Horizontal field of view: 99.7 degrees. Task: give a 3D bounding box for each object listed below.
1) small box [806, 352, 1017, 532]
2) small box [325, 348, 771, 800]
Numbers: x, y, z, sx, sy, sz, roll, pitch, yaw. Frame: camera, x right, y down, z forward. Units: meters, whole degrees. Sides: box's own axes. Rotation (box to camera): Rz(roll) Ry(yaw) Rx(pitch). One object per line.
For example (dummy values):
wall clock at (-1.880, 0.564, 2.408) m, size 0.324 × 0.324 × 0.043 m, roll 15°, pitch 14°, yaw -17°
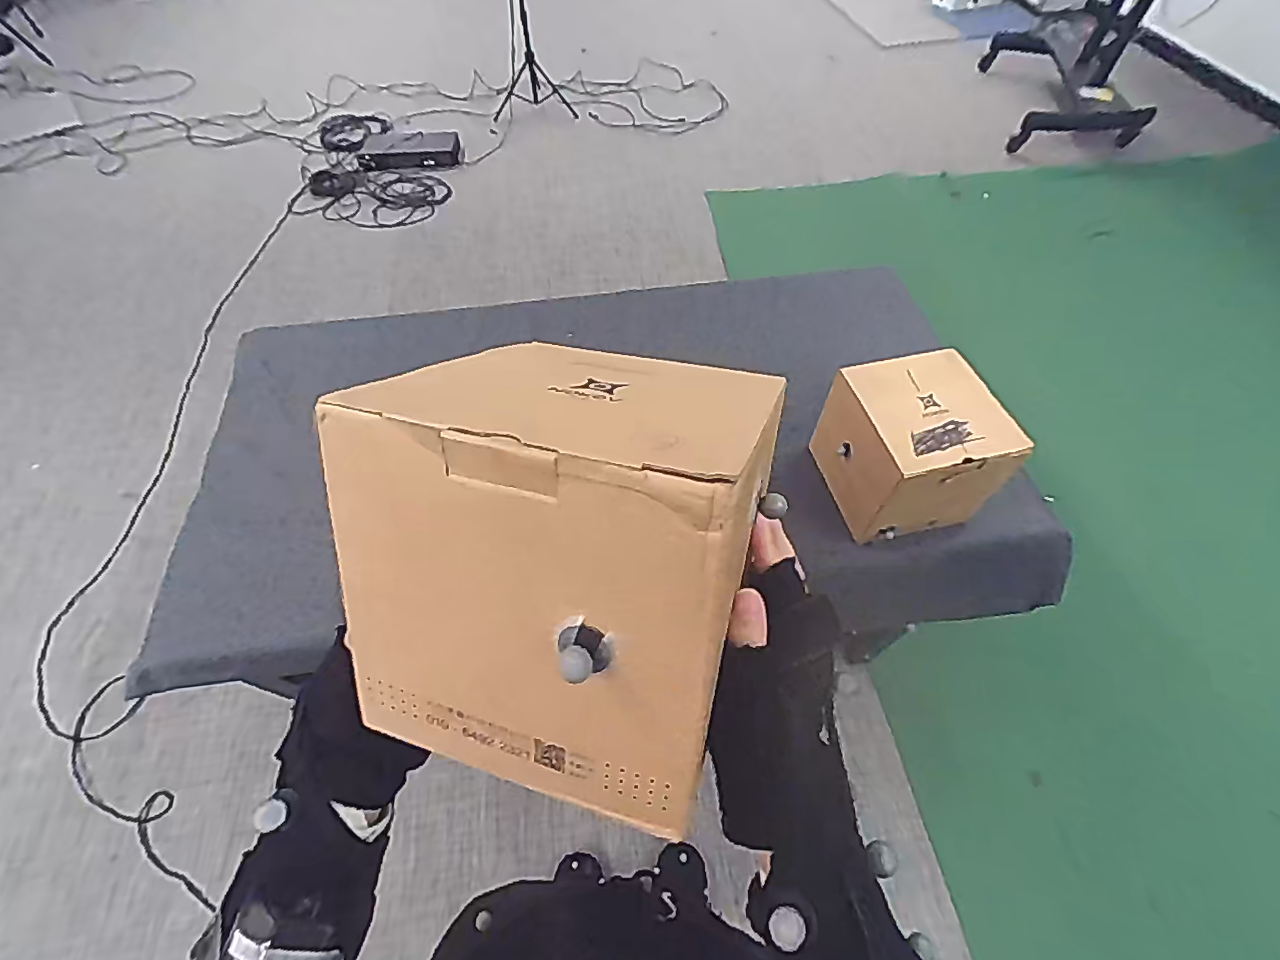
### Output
small box at (0.349, -0.043, 0.737) m, size 0.168 × 0.176 × 0.179 m, roll -11°, pitch 56°, yaw -6°
small box at (-0.031, 0.031, 0.302) m, size 0.168 × 0.176 × 0.179 m, roll 13°, pitch 23°, yaw 15°
